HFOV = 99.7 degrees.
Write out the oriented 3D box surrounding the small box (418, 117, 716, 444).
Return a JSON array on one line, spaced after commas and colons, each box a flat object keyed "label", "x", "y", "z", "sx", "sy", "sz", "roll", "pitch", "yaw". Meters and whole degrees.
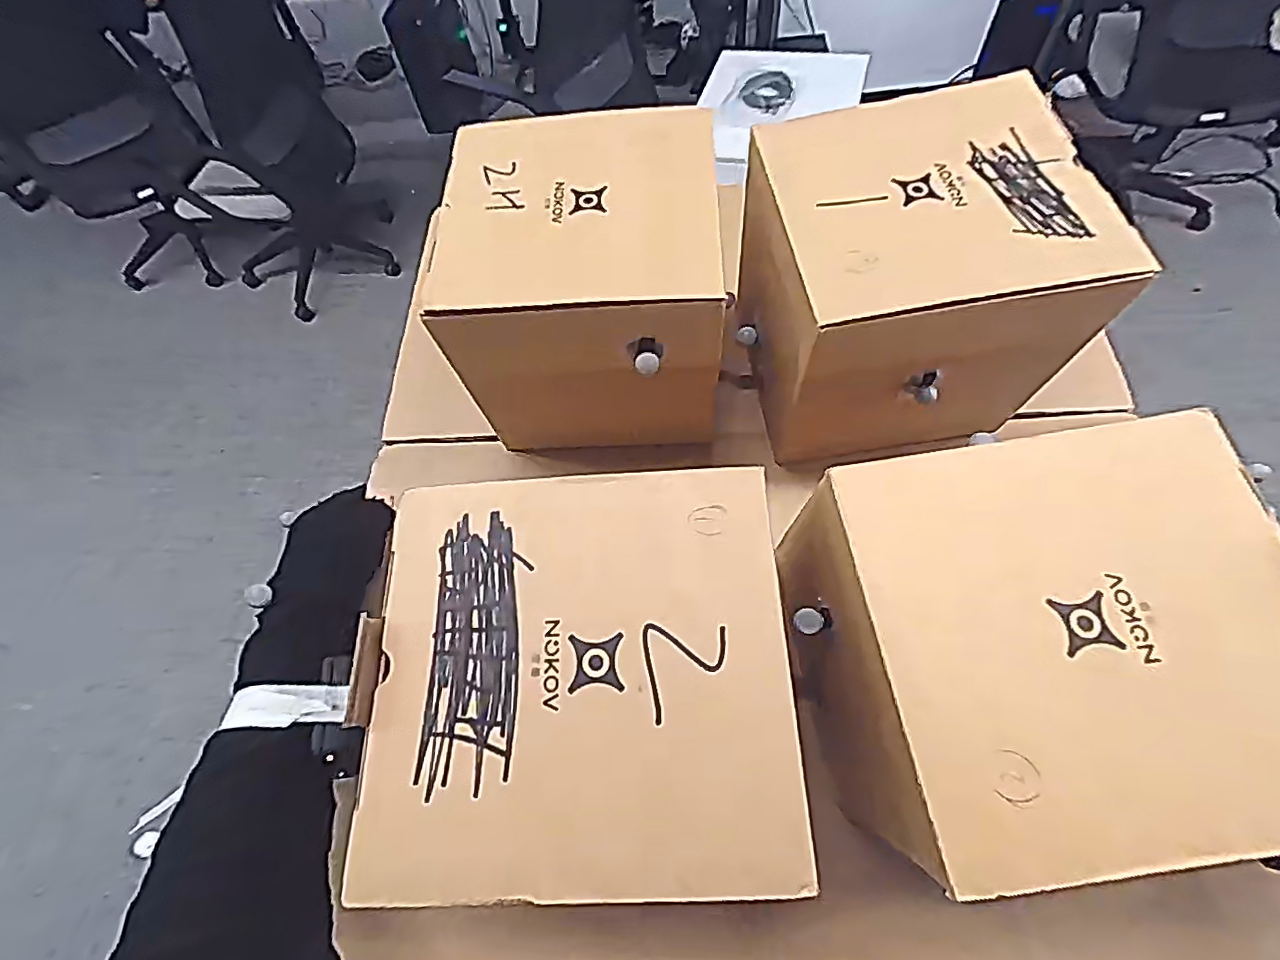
[{"label": "small box", "x": -0.036, "y": -0.137, "z": 0.414, "sx": 0.179, "sy": 0.176, "sz": 0.168, "roll": -1, "pitch": 65, "yaw": 6}]
